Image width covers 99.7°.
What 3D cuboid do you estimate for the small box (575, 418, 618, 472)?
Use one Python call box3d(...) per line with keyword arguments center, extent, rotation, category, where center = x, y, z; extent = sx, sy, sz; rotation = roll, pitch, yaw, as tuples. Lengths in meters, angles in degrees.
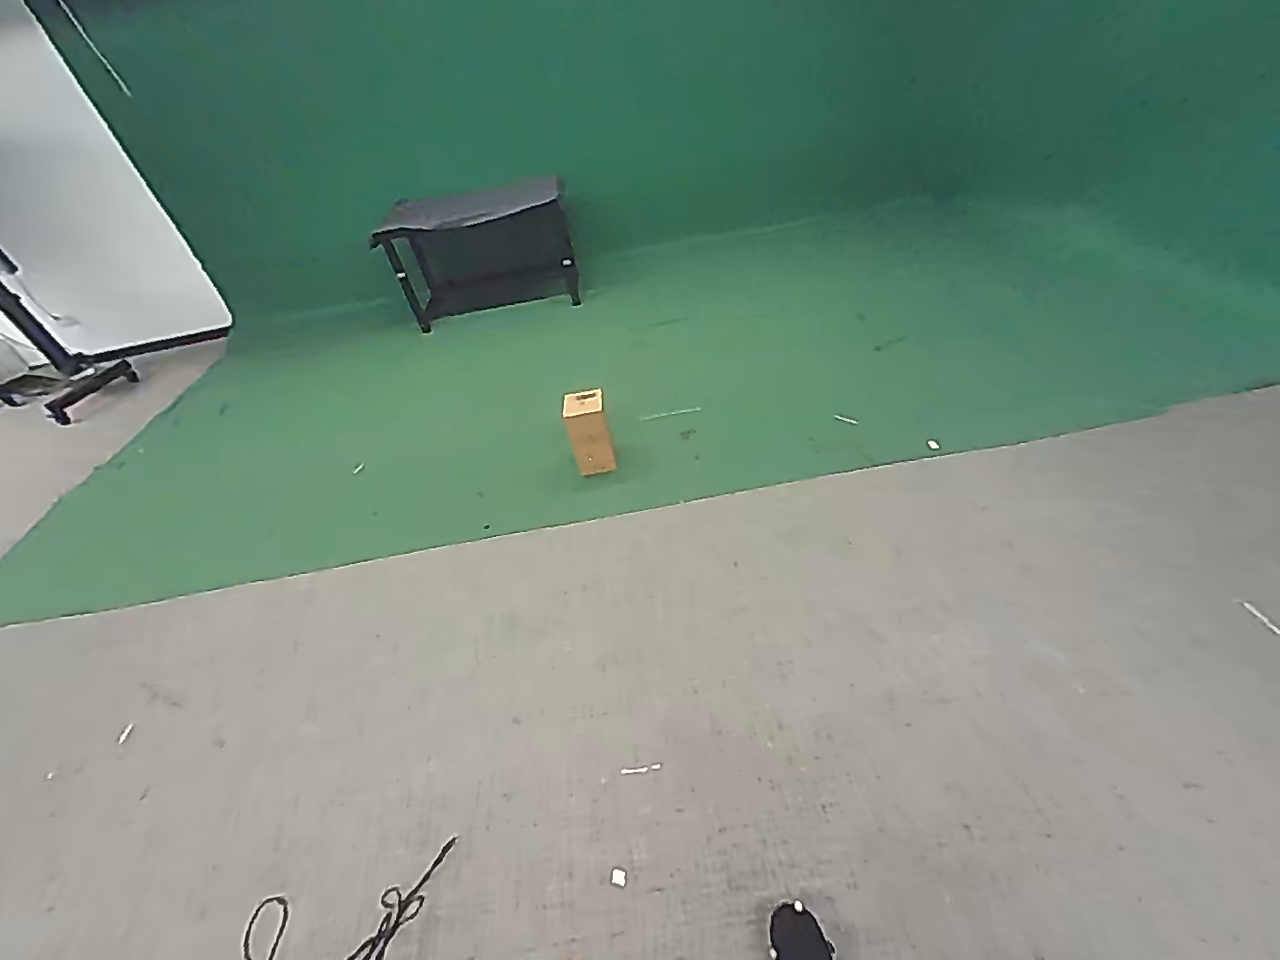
box3d(center=(-0.194, -0.153, 2.438), extent=(0.168, 0.176, 0.179), rotation=(-10, 40, 3), category="small box")
